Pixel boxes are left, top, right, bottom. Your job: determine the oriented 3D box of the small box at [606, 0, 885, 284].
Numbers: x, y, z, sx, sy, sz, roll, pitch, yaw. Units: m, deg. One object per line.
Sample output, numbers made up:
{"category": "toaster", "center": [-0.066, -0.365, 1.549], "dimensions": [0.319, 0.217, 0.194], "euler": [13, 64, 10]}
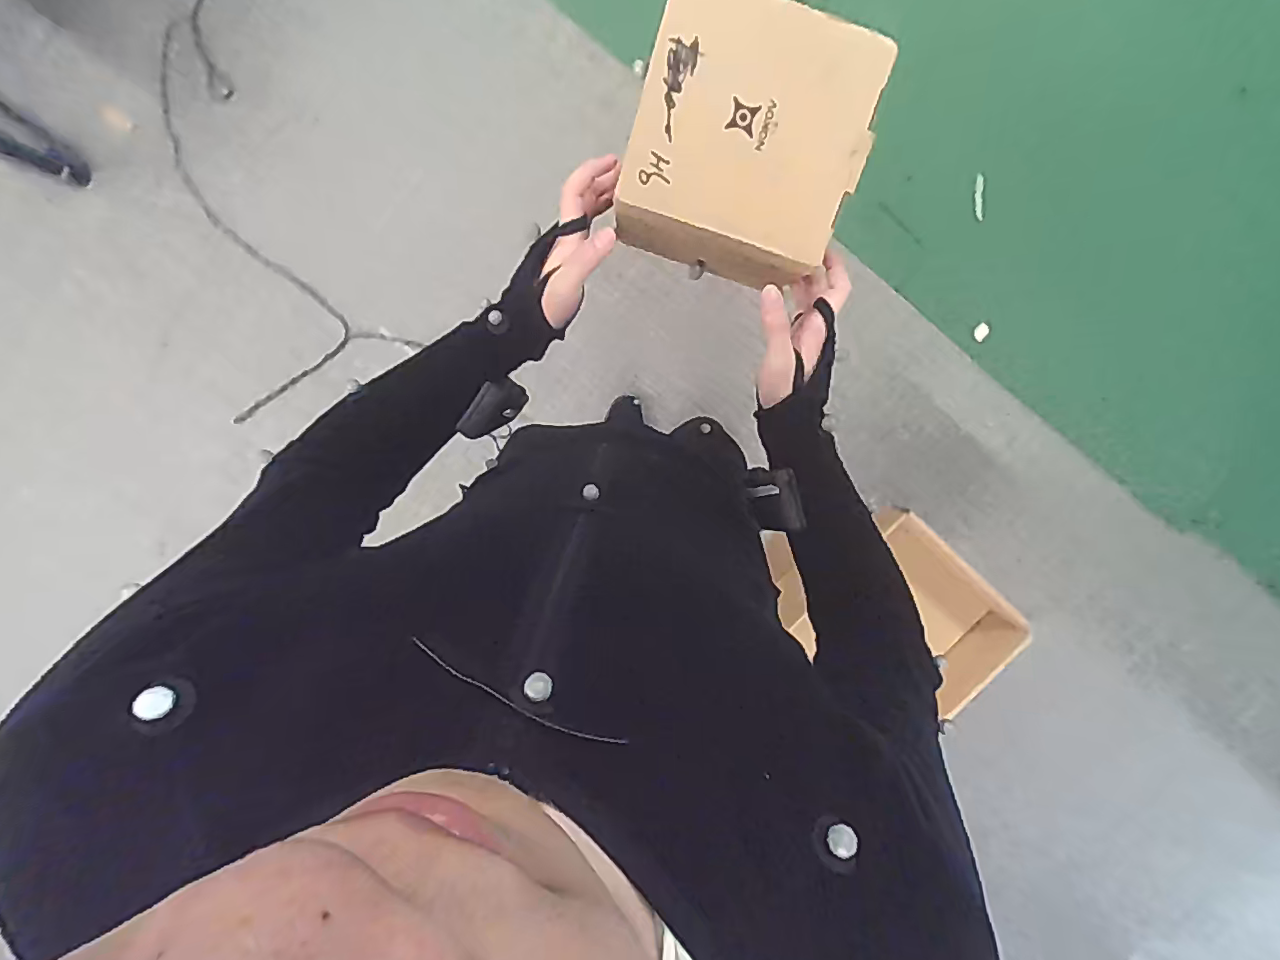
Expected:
{"category": "small box", "center": [0.076, -0.287, 0.488], "dimensions": [0.179, 0.176, 0.168], "euler": [16, 101, -5]}
